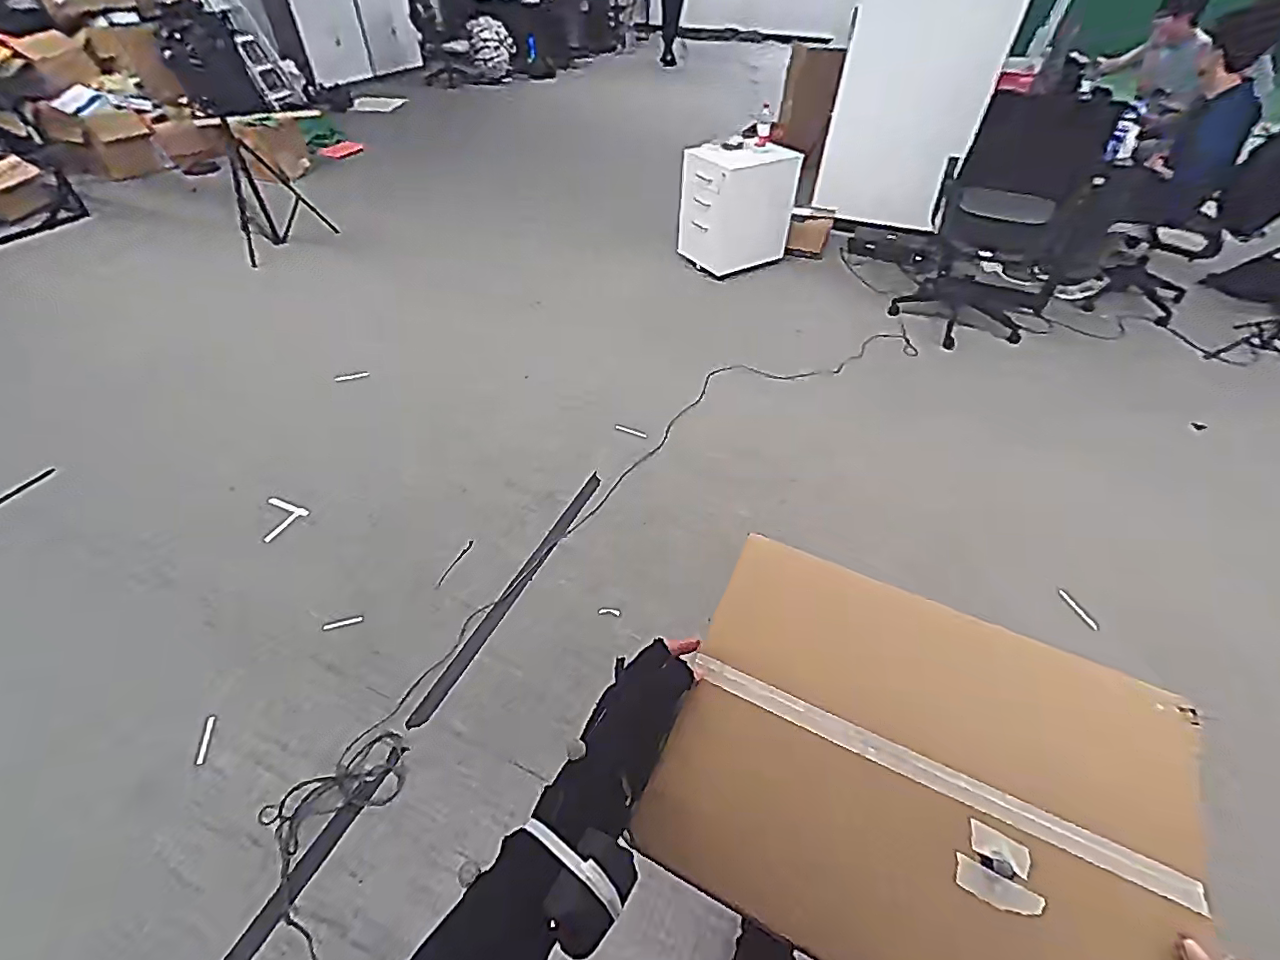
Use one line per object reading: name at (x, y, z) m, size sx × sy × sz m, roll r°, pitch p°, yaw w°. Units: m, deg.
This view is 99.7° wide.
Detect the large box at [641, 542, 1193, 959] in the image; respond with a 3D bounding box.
large box at (0.246, 0.329, 0.591) m, size 0.408 × 0.320 × 0.320 m, roll 21°, pitch 60°, yaw 17°
